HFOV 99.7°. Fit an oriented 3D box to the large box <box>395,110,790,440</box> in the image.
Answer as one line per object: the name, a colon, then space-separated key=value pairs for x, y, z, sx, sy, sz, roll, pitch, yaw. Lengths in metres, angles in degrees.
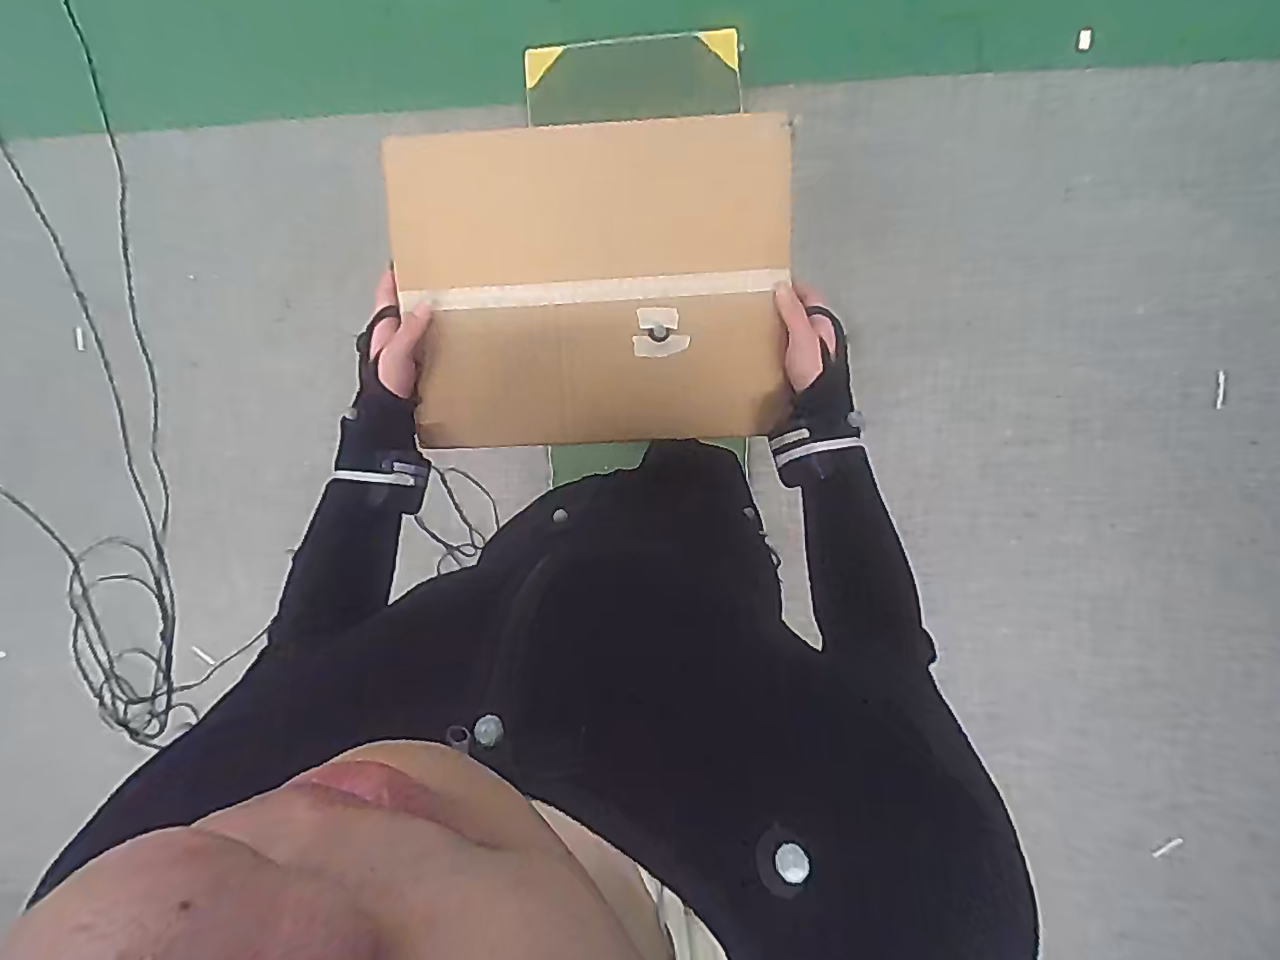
large box: x=-0.043 y=-0.231 z=0.713 sx=0.408 sy=0.320 sz=0.320 roll=-2 pitch=100 yaw=1
